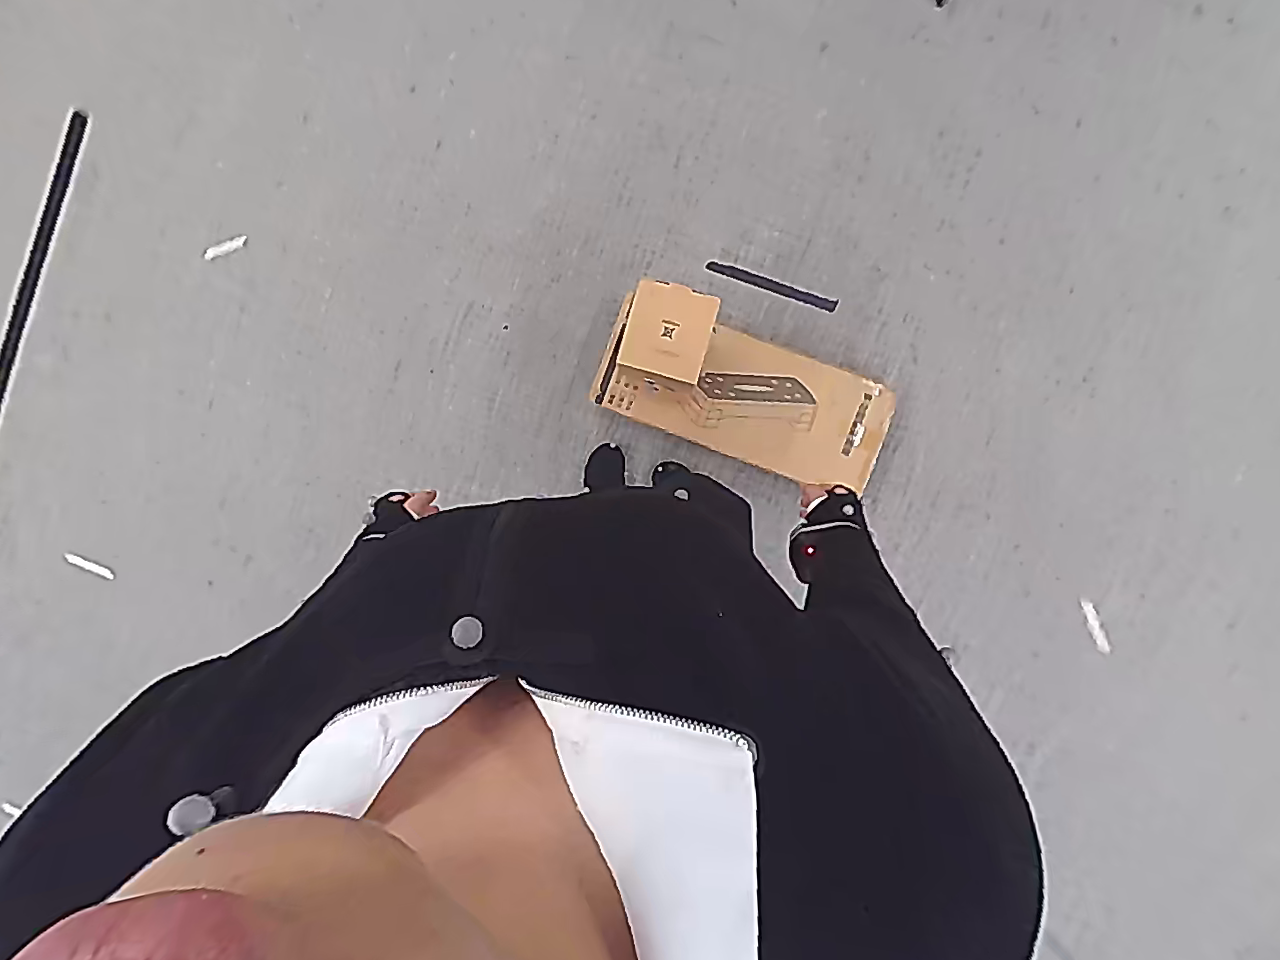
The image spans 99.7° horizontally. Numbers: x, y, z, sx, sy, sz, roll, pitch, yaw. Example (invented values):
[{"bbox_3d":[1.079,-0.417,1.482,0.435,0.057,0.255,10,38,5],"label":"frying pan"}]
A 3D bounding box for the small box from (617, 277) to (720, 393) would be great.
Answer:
[{"bbox_3d":[0.057,-0.292,1.127,0.168,0.176,0.179,16,94,2],"label":"small box"}]

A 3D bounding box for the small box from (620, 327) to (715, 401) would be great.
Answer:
[{"bbox_3d":[0.066,-0.299,1.290,0.168,0.176,0.179,23,94,0],"label":"small box"}]
